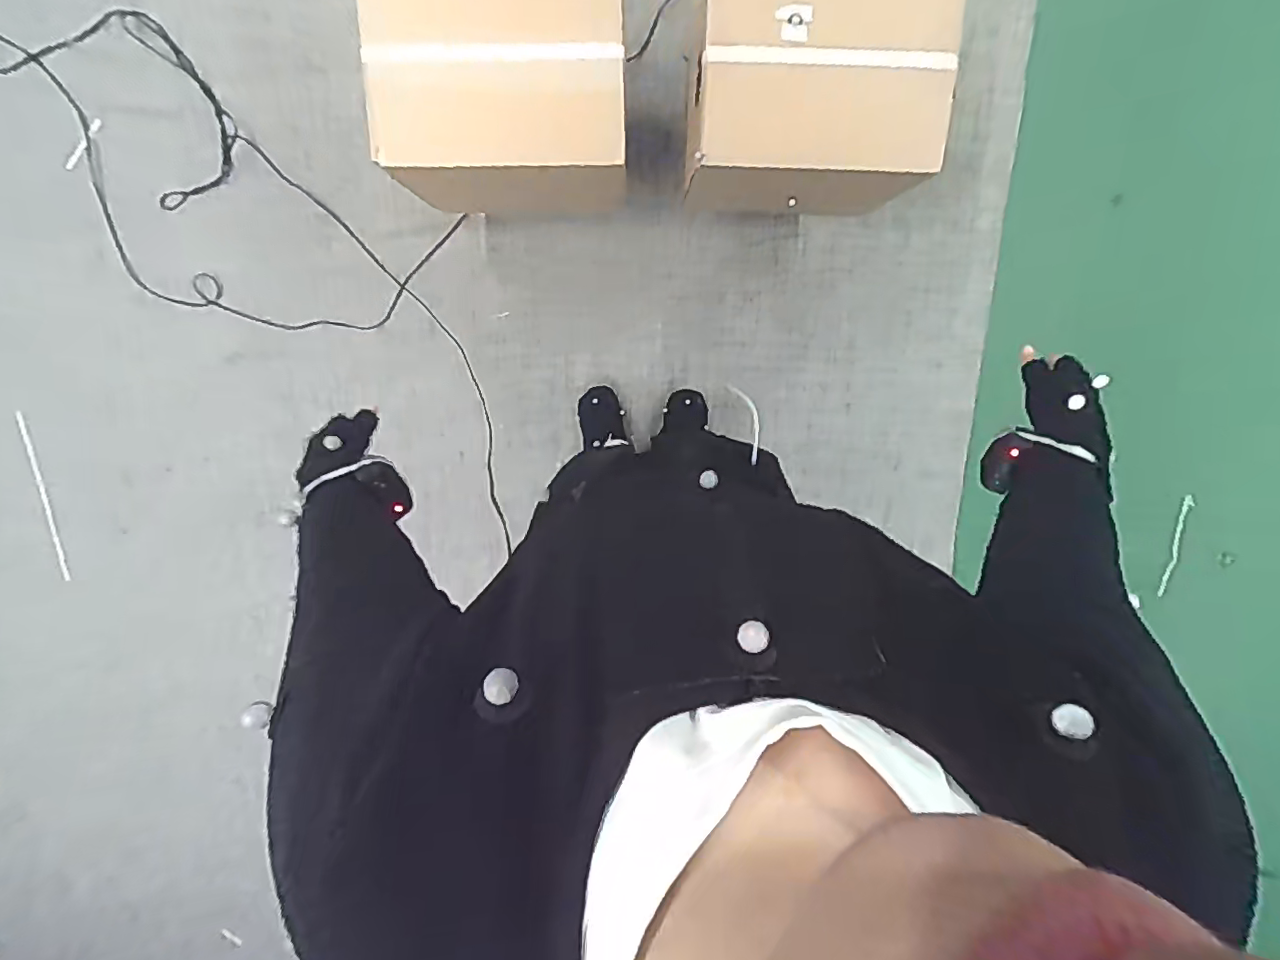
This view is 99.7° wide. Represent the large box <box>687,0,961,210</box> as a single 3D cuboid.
[{"bbox_3d":[0.307,-0.709,1.016,0.408,0.320,0.320,2,104,-1],"label":"large box"}]
